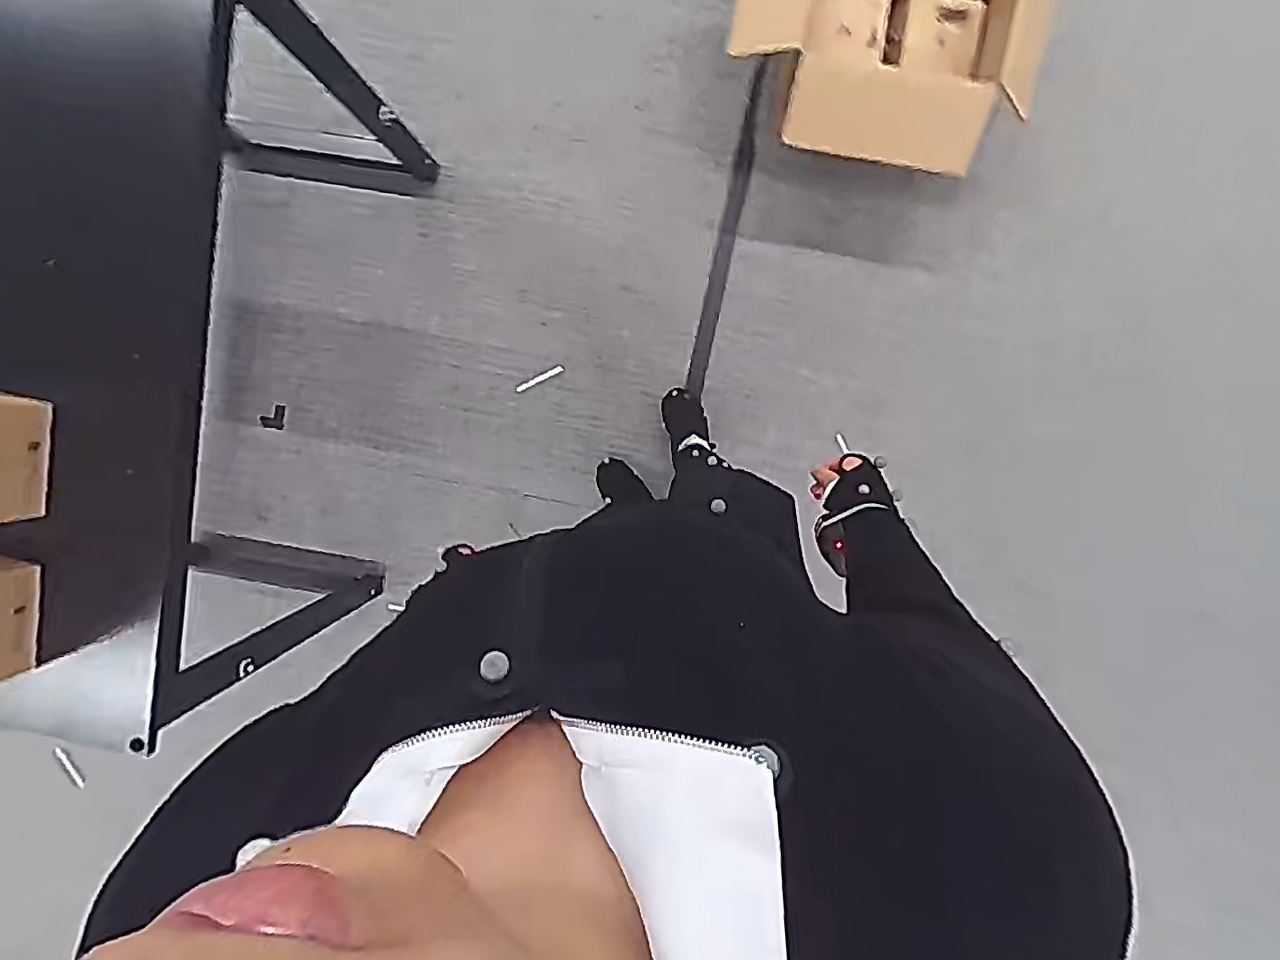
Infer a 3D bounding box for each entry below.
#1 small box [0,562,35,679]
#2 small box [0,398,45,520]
[{"bbox_3d":[-0.986,0.201,0.726,0.179,0.176,0.168,10,95,2],"label":"small box"},{"bbox_3d":[-0.941,-0.033,0.697,0.179,0.176,0.168,11,96,1],"label":"small box"}]
